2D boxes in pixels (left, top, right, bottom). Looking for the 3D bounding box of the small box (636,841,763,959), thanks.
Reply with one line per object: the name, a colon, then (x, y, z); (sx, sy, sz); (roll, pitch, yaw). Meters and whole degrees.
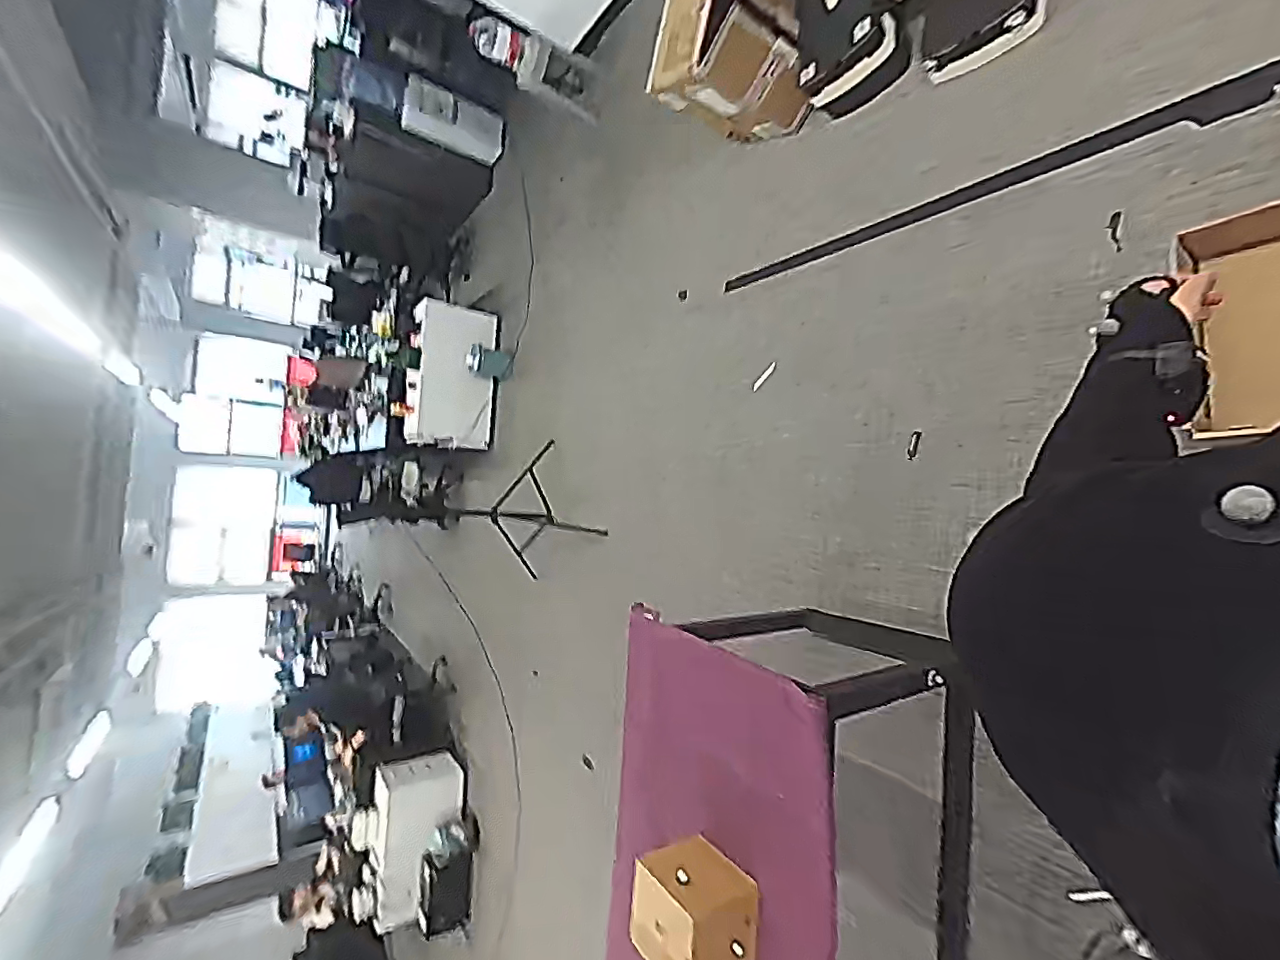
small box: (0.114, 0.844, 1.056); (0.179, 0.176, 0.168); (3, 89, 55)
